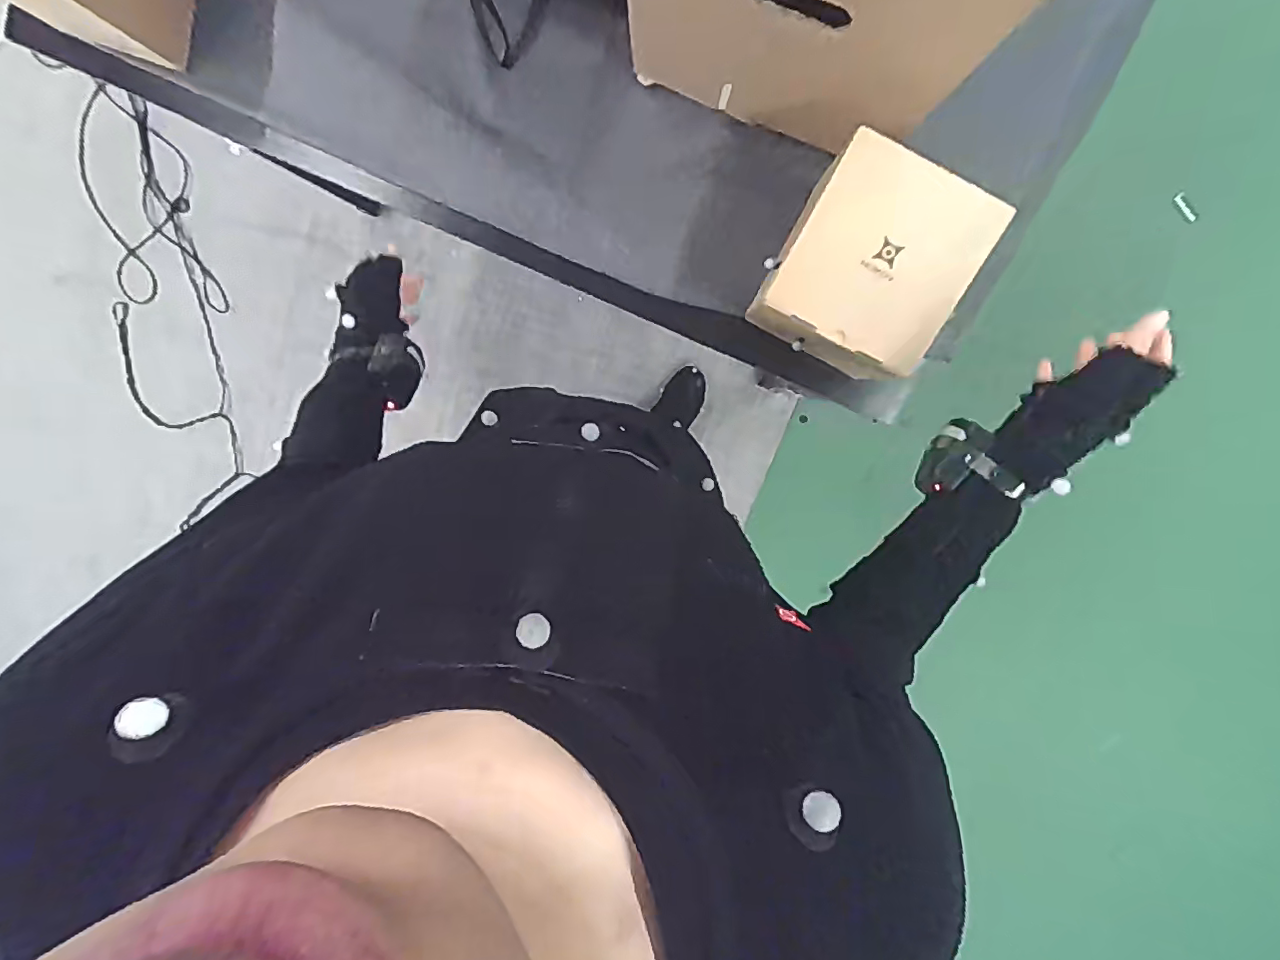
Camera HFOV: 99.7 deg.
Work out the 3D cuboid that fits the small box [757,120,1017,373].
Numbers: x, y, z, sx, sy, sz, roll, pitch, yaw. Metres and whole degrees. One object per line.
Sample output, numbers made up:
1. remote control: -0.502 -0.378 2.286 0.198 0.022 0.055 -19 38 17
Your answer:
1. small box: 0.244 -0.235 0.589 0.168 0.176 0.179 28 104 -2
